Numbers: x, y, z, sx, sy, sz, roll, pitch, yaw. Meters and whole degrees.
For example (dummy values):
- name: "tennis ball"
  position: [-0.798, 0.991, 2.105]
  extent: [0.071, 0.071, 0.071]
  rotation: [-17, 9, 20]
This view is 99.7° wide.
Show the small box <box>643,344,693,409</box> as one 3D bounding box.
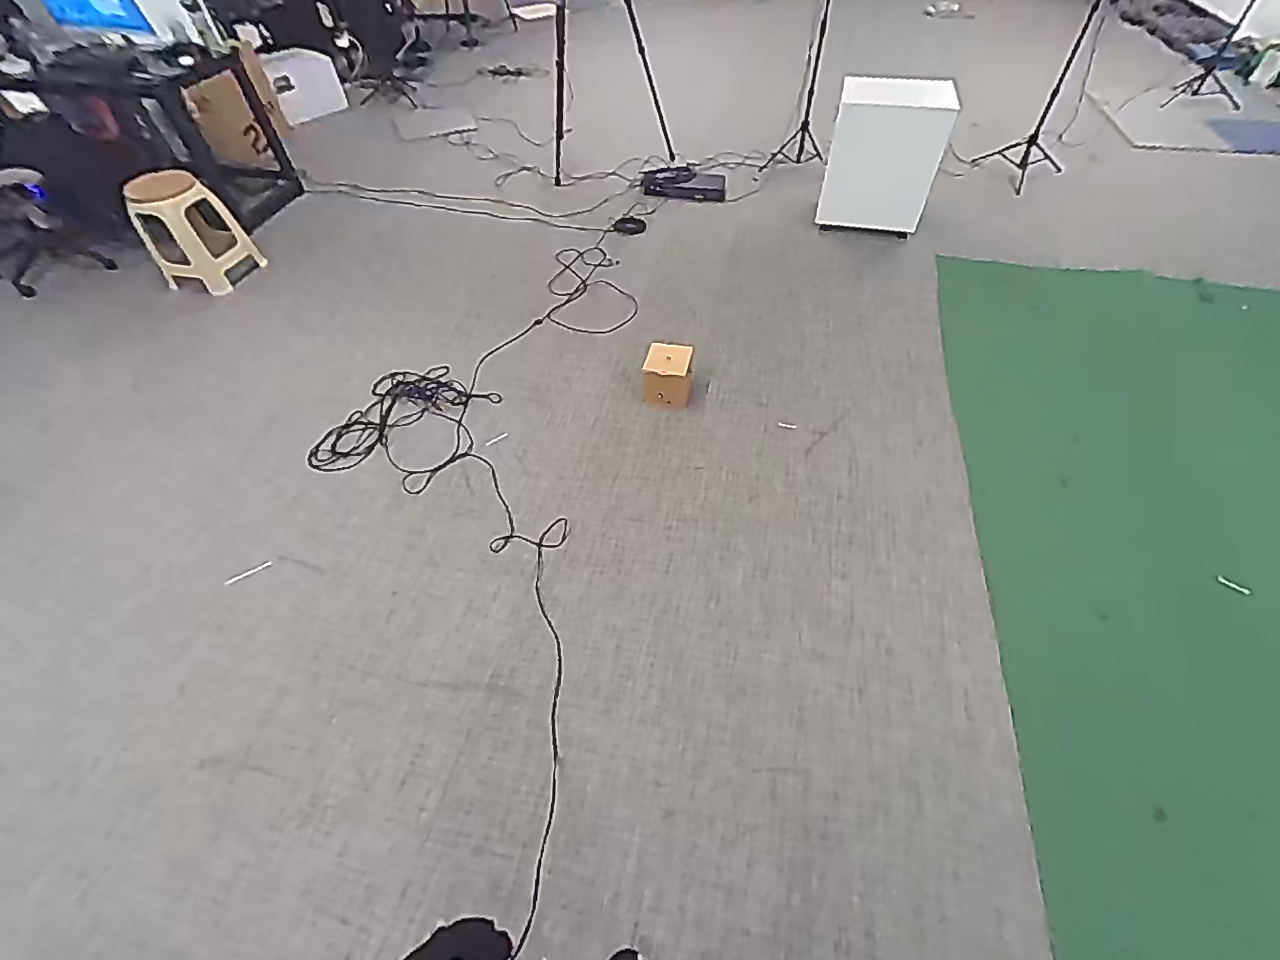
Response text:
- name: "small box"
  position: [0.110, -0.405, 2.116]
  extent: [0.168, 0.176, 0.179]
  rotation: [9, 52, 10]
